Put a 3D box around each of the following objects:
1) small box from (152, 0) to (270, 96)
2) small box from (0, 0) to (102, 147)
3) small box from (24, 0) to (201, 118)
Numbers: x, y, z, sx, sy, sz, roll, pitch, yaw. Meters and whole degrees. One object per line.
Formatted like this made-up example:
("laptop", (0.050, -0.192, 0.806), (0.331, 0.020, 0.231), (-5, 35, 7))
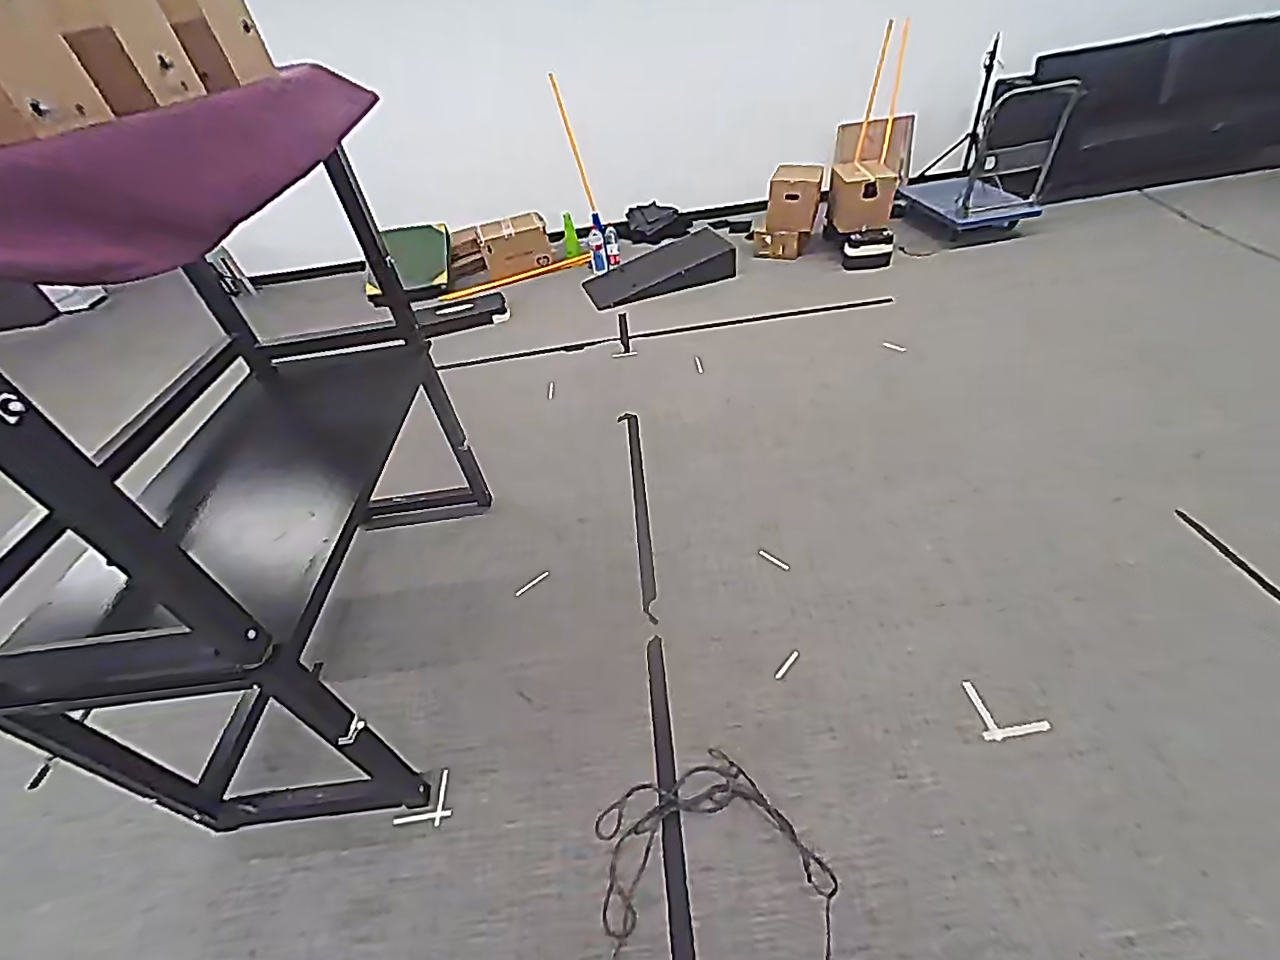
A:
("small box", (-0.910, -0.902, 1.111), (0.168, 0.176, 0.179), (-7, 43, 4))
("small box", (-0.891, -0.540, 0.709), (0.179, 0.176, 0.168), (-10, 42, 1))
("small box", (-0.905, -0.714, 0.902), (0.179, 0.176, 0.168), (-9, 42, 1))
